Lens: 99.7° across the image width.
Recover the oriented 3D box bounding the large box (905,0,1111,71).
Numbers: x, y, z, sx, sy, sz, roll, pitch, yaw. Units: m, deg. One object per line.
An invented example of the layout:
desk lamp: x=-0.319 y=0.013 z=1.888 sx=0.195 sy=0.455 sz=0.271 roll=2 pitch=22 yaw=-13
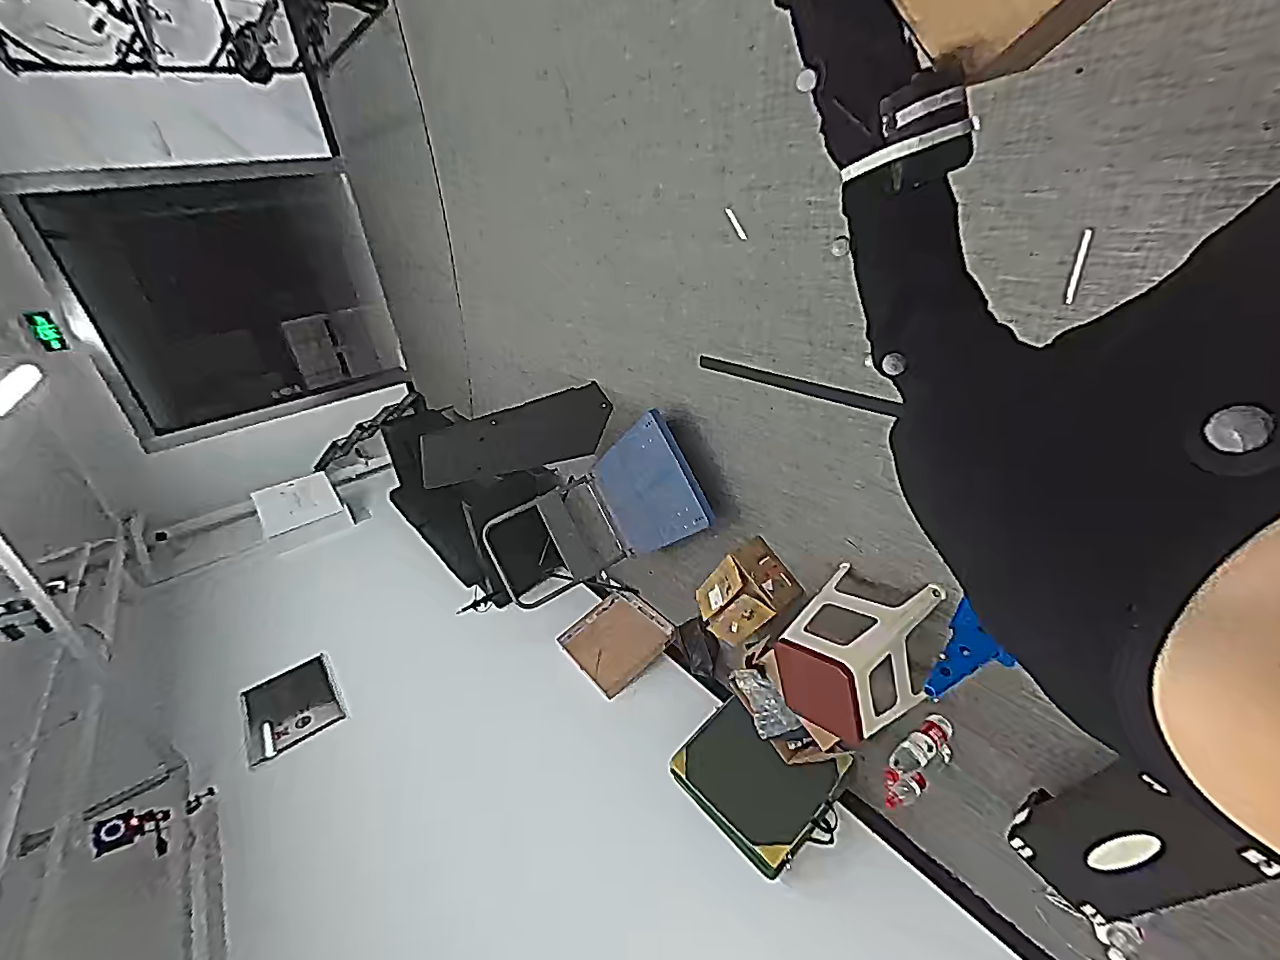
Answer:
large box: x=0.325 y=-0.545 z=0.314 sx=0.320 sy=0.320 sz=0.408 roll=53 pitch=141 yaw=-4
